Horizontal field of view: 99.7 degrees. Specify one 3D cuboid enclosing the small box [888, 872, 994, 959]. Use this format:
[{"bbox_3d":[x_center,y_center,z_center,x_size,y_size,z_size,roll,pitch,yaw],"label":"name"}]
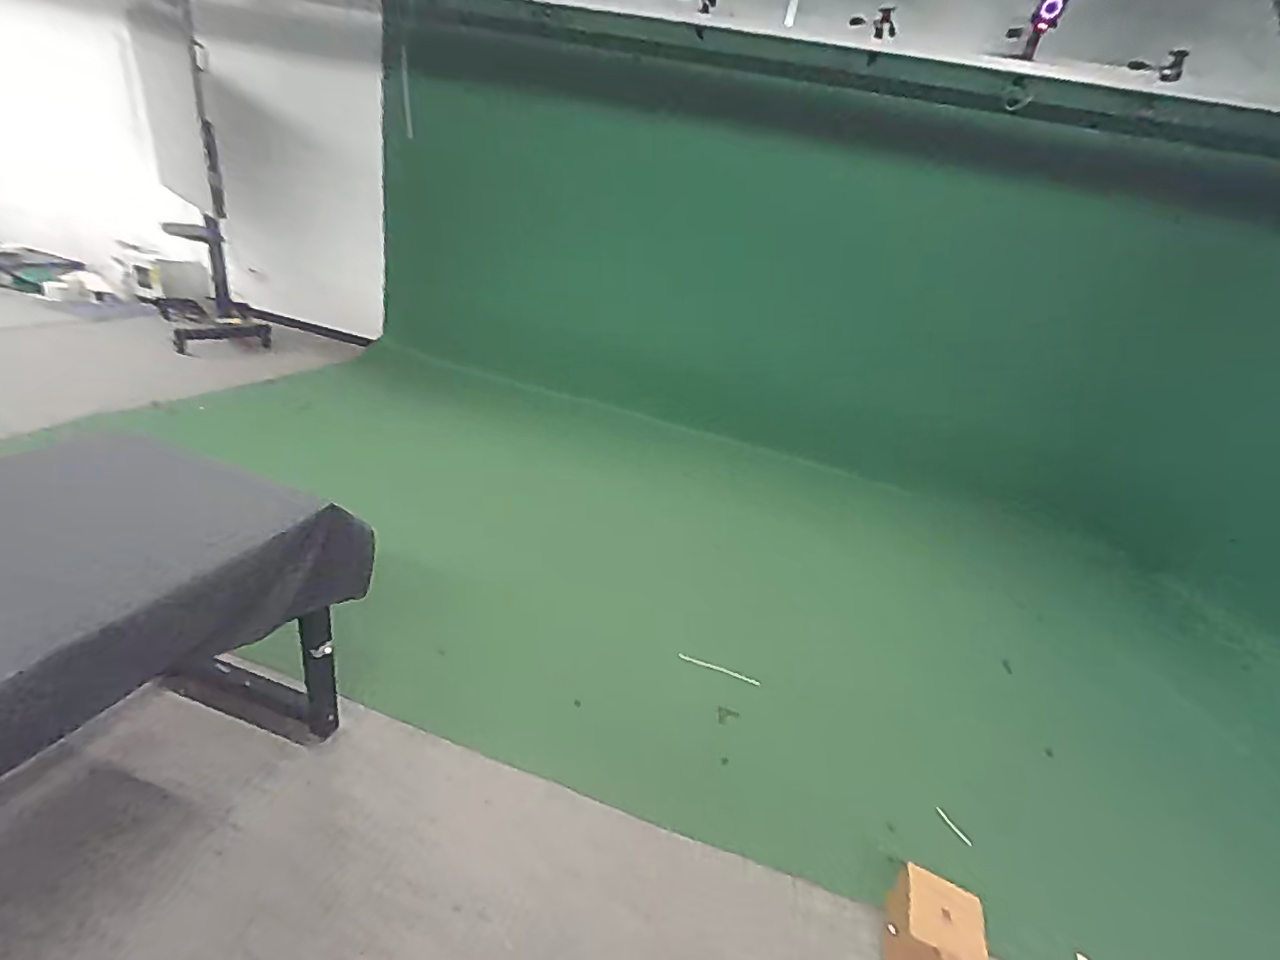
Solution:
[{"bbox_3d":[0.688,1.076,1.248,0.168,0.176,0.179,21,25,16],"label":"small box"}]
